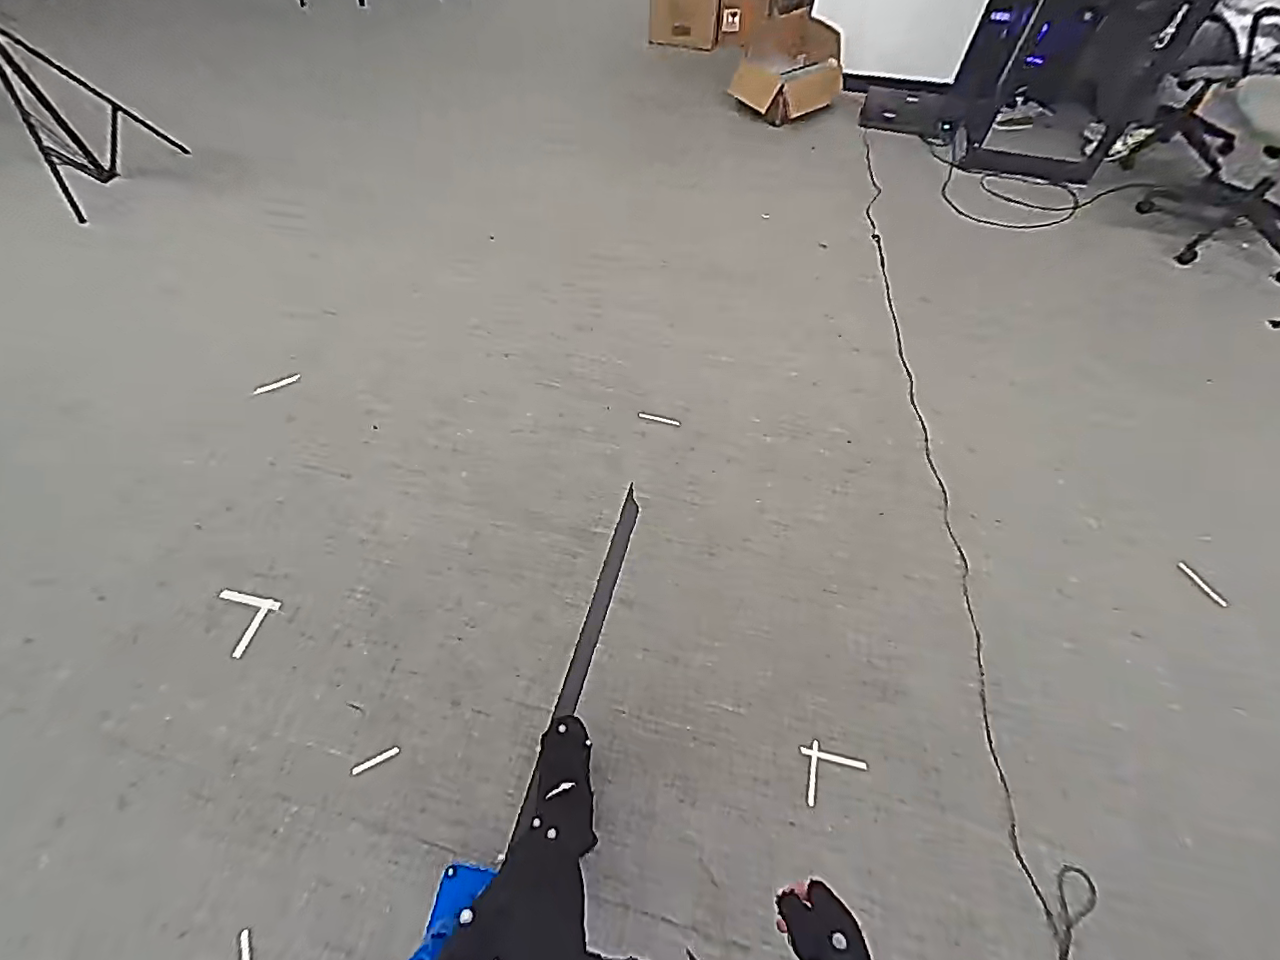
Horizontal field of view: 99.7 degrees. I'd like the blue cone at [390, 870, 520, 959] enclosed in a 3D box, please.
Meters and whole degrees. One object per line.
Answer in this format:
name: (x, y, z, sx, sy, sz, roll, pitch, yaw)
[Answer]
blue cone: (-0.349, 0.827, 0.953, 0.192, 0.380, 0.193, 10, 57, 7)
